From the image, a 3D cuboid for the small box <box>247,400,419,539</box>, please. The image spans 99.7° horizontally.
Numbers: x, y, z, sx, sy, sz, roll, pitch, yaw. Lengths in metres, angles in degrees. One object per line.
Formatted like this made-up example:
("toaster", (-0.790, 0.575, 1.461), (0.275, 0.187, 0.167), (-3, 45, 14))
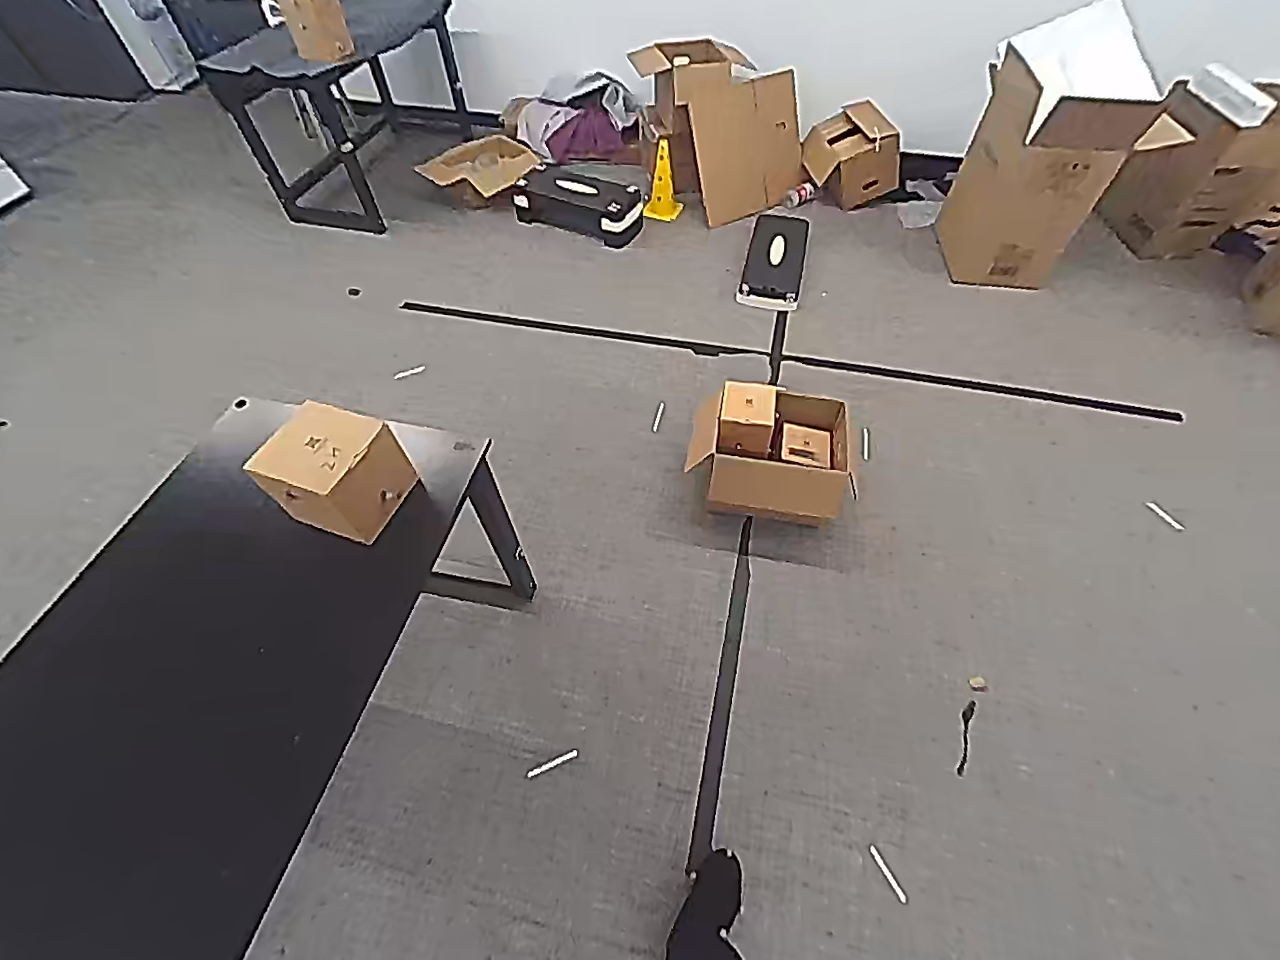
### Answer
("small box", (-0.543, -0.015, 0.982), (0.179, 0.176, 0.168), (16, 57, 12))
